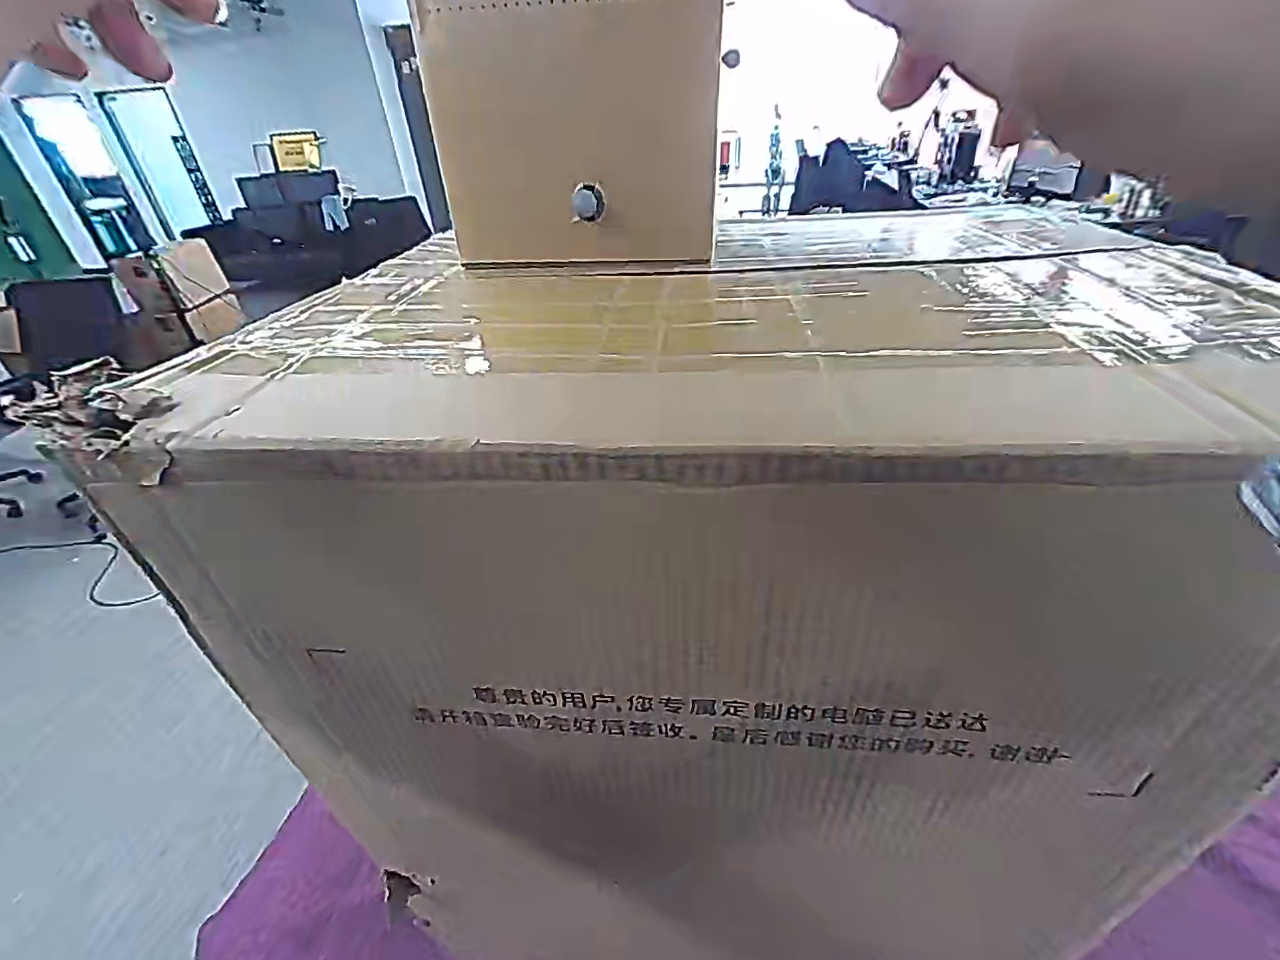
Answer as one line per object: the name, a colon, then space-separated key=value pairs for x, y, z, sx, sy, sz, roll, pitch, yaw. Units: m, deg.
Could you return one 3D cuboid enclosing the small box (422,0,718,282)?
small box: x=-0.035 y=-0.250 z=0.390 sx=0.179 sy=0.176 sz=0.168 roll=2 pitch=34 yaw=8
